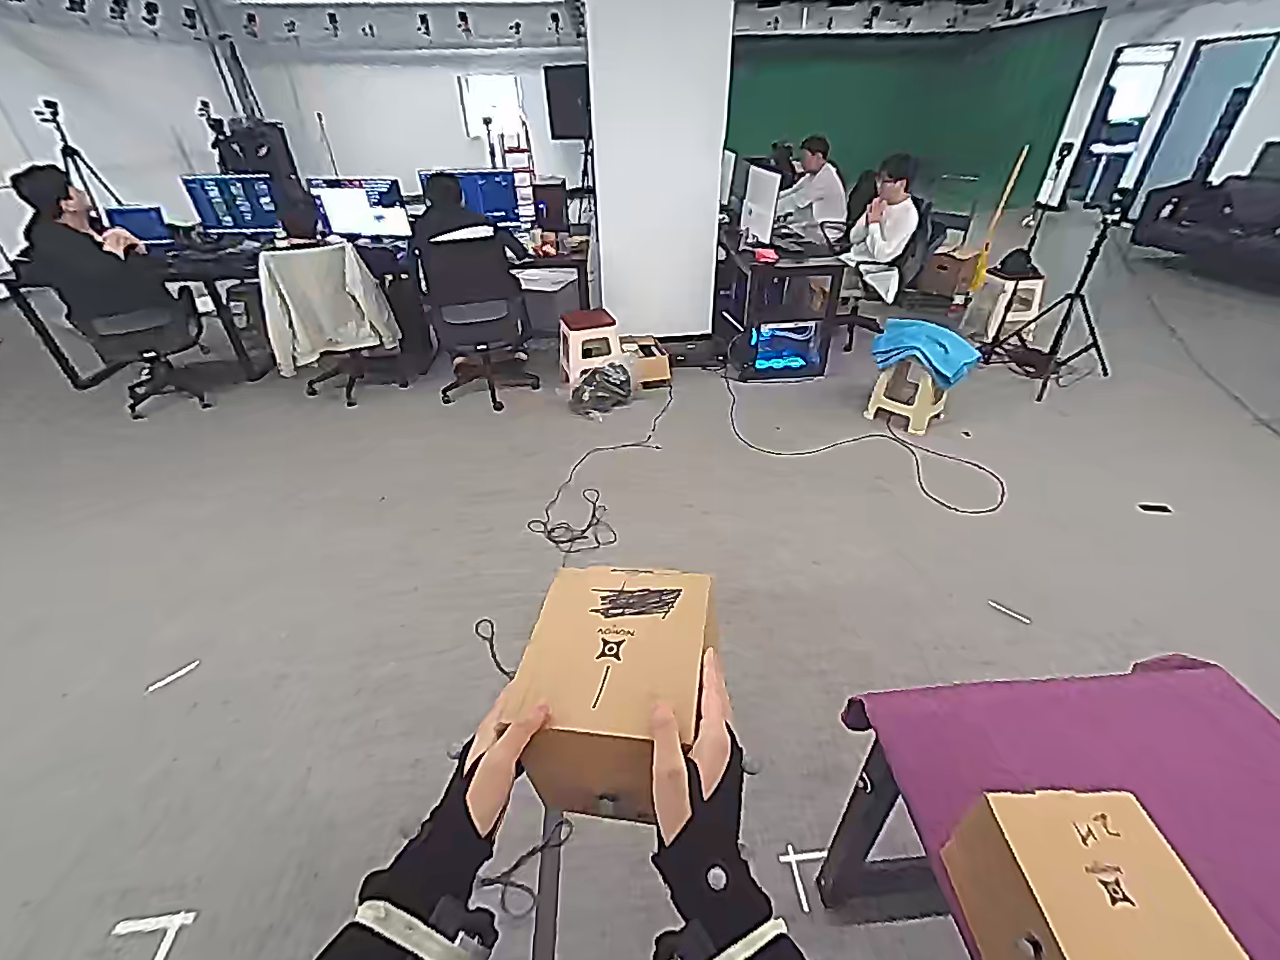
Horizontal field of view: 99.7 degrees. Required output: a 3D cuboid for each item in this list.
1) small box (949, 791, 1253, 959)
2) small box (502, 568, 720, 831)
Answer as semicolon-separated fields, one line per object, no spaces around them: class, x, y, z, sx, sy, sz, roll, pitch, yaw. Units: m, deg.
small box;0.471;0.465;0.581;0.168;0.176;0.179;-1;35;1
small box;-0.011;0.211;0.539;0.168;0.176;0.179;0;38;14
